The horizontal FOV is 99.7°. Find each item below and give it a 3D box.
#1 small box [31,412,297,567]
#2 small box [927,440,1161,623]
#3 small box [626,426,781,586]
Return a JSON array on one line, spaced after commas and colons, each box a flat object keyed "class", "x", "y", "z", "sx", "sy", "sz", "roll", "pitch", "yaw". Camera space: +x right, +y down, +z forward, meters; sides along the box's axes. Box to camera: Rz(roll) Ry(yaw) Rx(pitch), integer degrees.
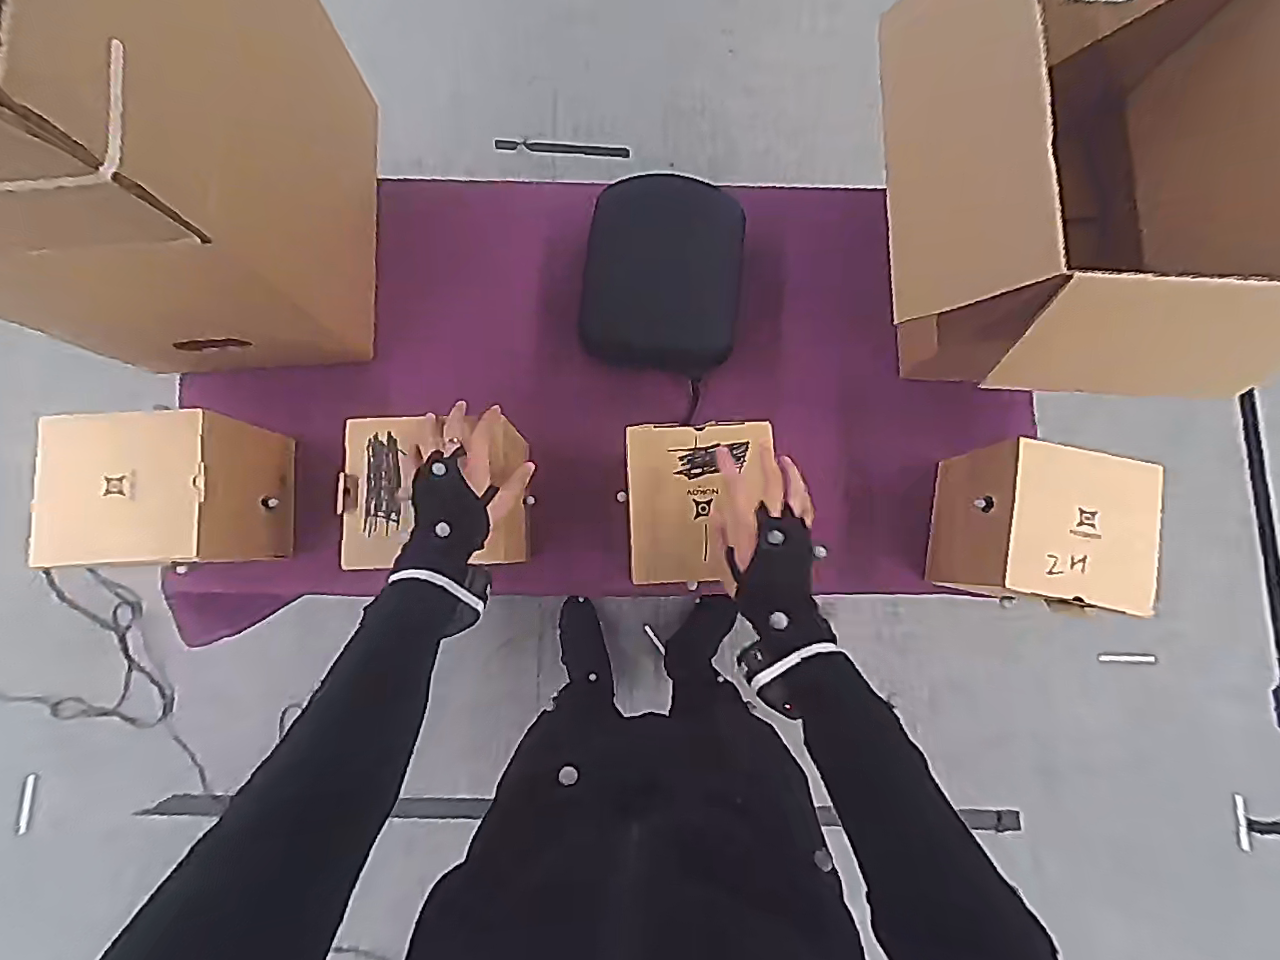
[{"class": "small box", "x": -0.560, "y": 0.020, "z": 0.662, "sx": 0.179, "sy": 0.176, "sz": 0.168, "roll": -3, "pitch": 82, "yaw": -3}, {"class": "small box", "x": 0.488, "y": 0.066, "z": 0.676, "sx": 0.168, "sy": 0.176, "sz": 0.179, "roll": 12, "pitch": 82, "yaw": 1}, {"class": "small box", "x": 0.067, "y": 0.038, "z": 0.674, "sx": 0.168, "sy": 0.176, "sz": 0.179, "roll": -2, "pitch": 83, "yaw": -1}]
